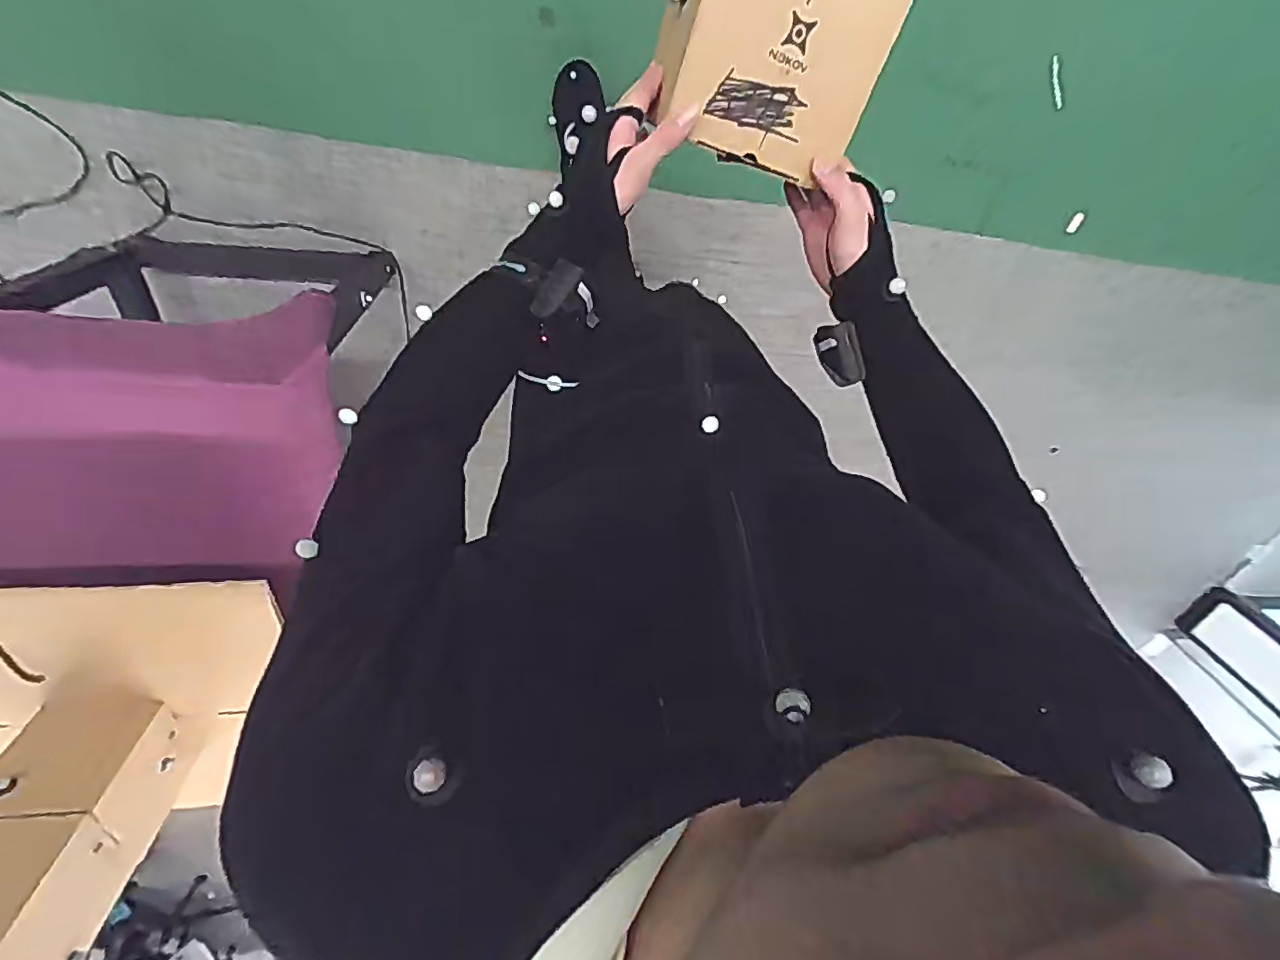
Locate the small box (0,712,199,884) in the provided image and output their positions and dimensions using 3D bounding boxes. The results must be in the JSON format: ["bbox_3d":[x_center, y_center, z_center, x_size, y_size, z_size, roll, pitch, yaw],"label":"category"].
[{"bbox_3d":[-0.833,0.476,0.822,0.179,0.176,0.168,1,124,-10],"label":"small box"}]

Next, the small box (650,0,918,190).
[{"bbox_3d":[0.115,-0.398,0.499,0.168,0.176,0.179,9,124,-17],"label":"small box"}]
